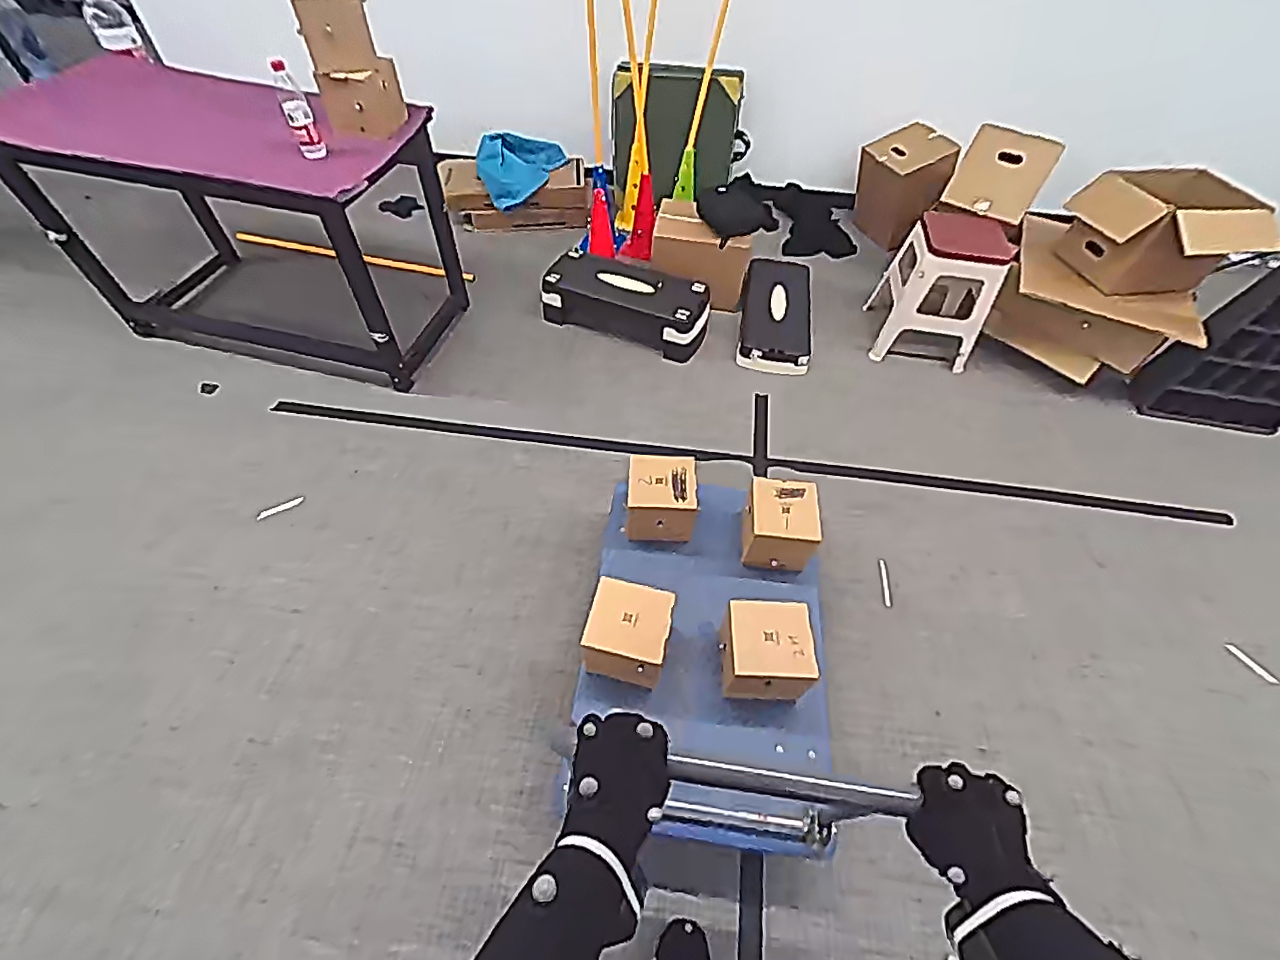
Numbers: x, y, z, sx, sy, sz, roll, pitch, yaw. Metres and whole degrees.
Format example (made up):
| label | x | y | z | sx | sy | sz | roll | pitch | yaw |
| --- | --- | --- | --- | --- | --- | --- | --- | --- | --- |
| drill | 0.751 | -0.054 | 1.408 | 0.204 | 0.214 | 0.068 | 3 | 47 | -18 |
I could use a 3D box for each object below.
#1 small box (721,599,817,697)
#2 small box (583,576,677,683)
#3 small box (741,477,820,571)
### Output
| label | x | y | z | sx | sy | sz | roll | pitch | yaw |
| --- | --- | --- | --- | --- | --- | --- | --- | --- | --- |
| small box | 0.280 | 0.383 | 1.223 | 0.179 | 0.176 | 0.168 | 3 | 53 | -1 |
| small box | -0.023 | 0.346 | 1.236 | 0.179 | 0.176 | 0.168 | 12 | 54 | 5 |
| small box | 0.363 | 0.117 | 1.426 | 0.168 | 0.176 | 0.179 | 6 | 54 | 2 |
